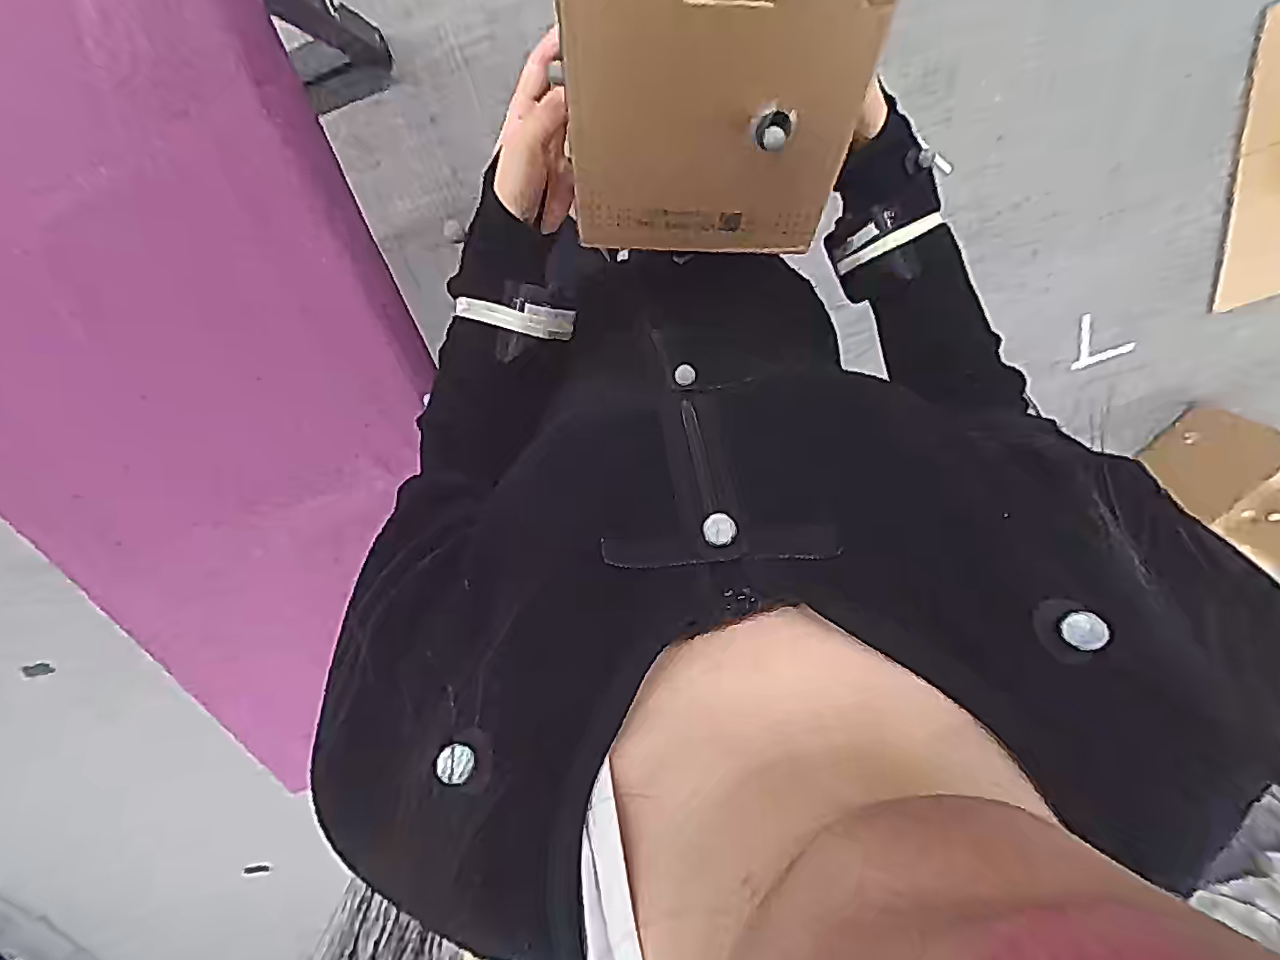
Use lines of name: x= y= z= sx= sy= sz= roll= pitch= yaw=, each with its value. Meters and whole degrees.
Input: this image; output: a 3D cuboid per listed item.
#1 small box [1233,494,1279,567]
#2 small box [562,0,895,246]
small box: x=1.721 y=0.155 z=1.391 sx=0.179 sy=0.176 sz=0.168 roll=27 pitch=113 yaw=-17
small box: x=0.044 y=-0.276 z=0.347 sx=0.168 sy=0.179 sz=0.176 roll=2 pitch=154 yaw=-2
